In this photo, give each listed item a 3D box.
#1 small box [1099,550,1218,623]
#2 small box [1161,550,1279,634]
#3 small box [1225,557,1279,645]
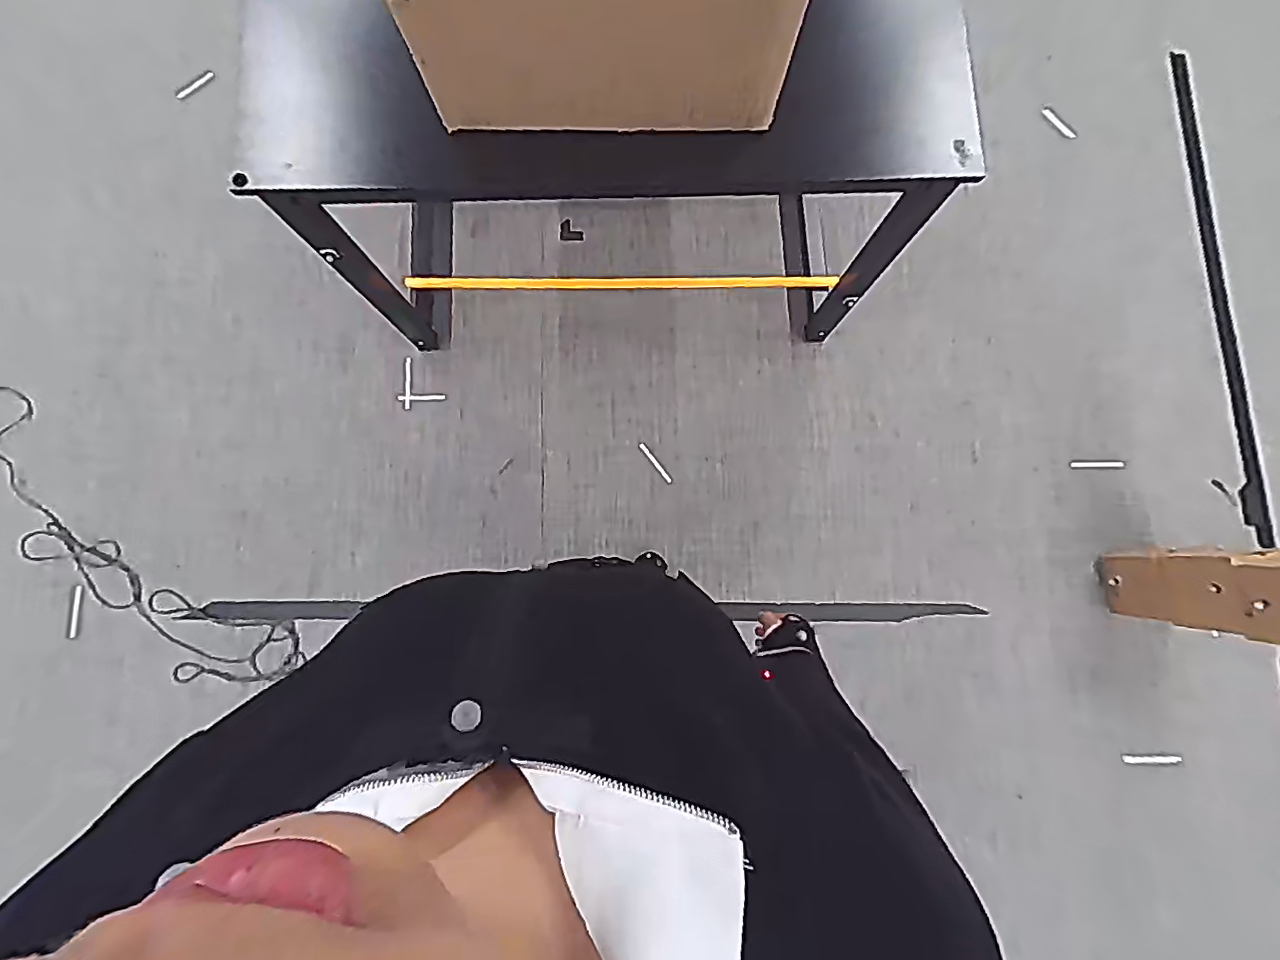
[{"bbox_3d":[1.378,0.276,1.427,0.179,0.176,0.168,-8,82,0],"label":"small box"},{"bbox_3d":[1.382,0.258,1.264,0.168,0.176,0.179,-5,82,-1],"label":"small box"},{"bbox_3d":[1.379,0.244,1.099,0.179,0.176,0.168,-9,82,-1],"label":"small box"}]
